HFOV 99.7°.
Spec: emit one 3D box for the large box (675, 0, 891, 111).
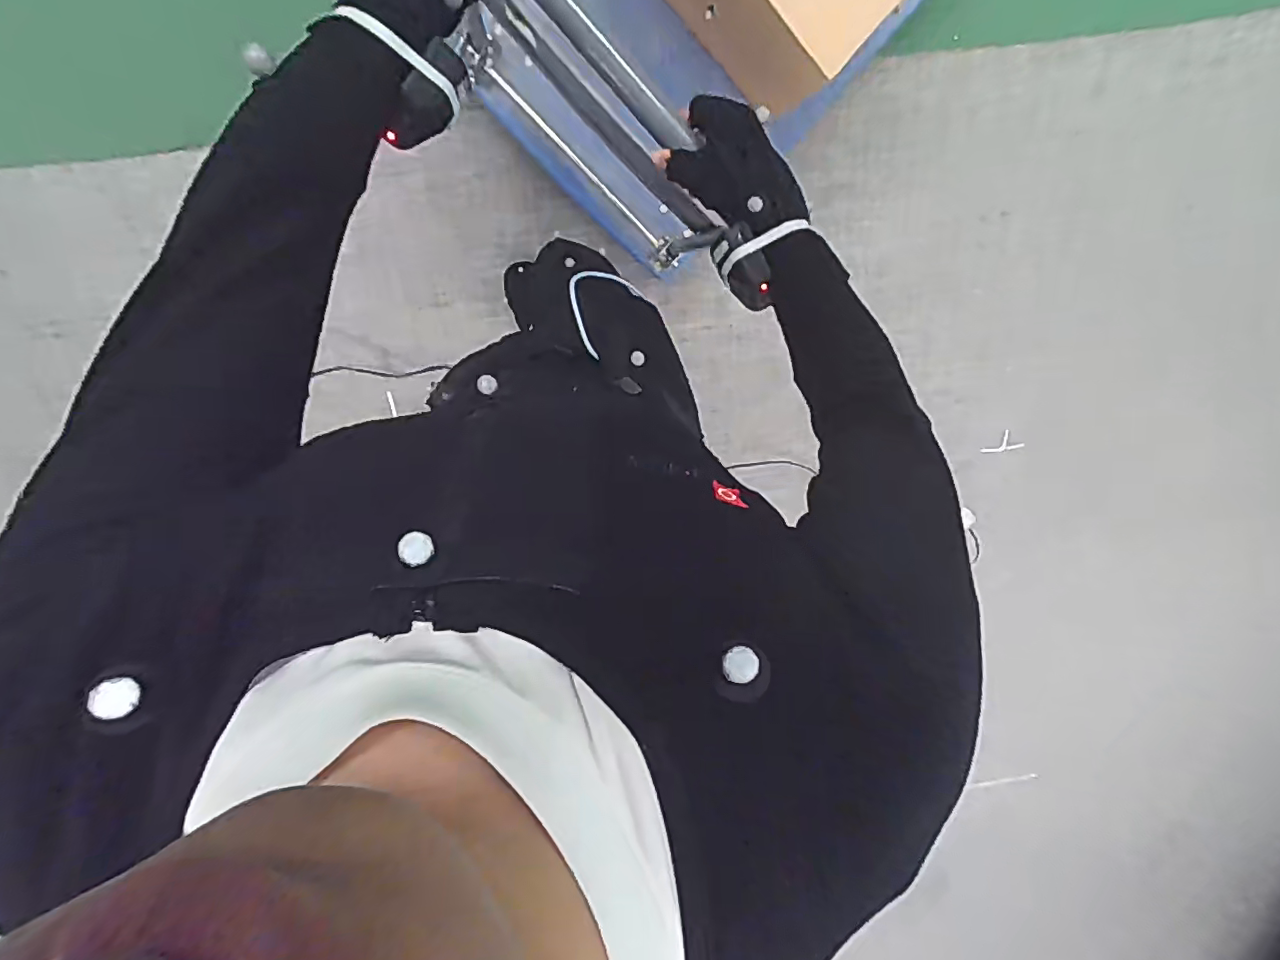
[{"bbox_3d":[0.223,-0.883,0.834,0.408,0.320,0.320,38,105,-18],"label":"large box"}]
